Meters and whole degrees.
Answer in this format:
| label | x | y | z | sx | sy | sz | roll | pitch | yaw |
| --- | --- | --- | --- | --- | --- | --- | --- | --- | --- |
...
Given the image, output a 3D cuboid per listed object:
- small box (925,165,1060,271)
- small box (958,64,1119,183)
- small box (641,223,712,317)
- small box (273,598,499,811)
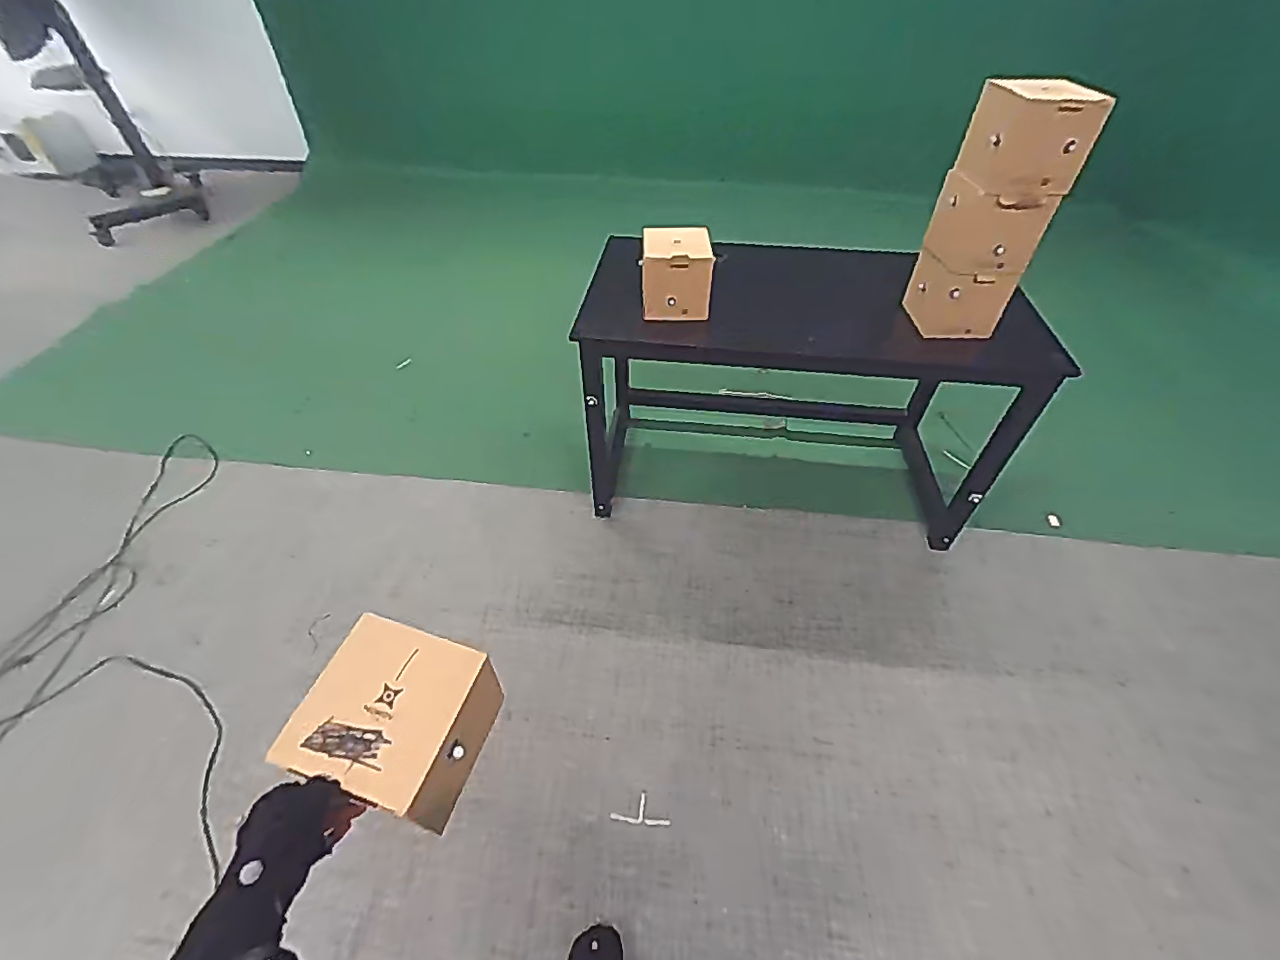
| label | x | y | z | sx | sy | sz | roll | pitch | yaw |
| --- | --- | --- | --- | --- | --- | --- | --- | --- | --- |
| small box | 0.777 | -0.591 | 1.218 | 0.168 | 0.176 | 0.179 | -1 | 47 | 0 |
| small box | 0.783 | -0.714 | 1.086 | 0.168 | 0.176 | 0.179 | 0 | 46 | -1 |
| small box | 0.088 | -0.542 | 1.397 | 0.168 | 0.176 | 0.179 | 0 | 48 | -2 |
| small box | -0.287 | 0.280 | 0.665 | 0.168 | 0.176 | 0.179 | 17 | 52 | 7 |
